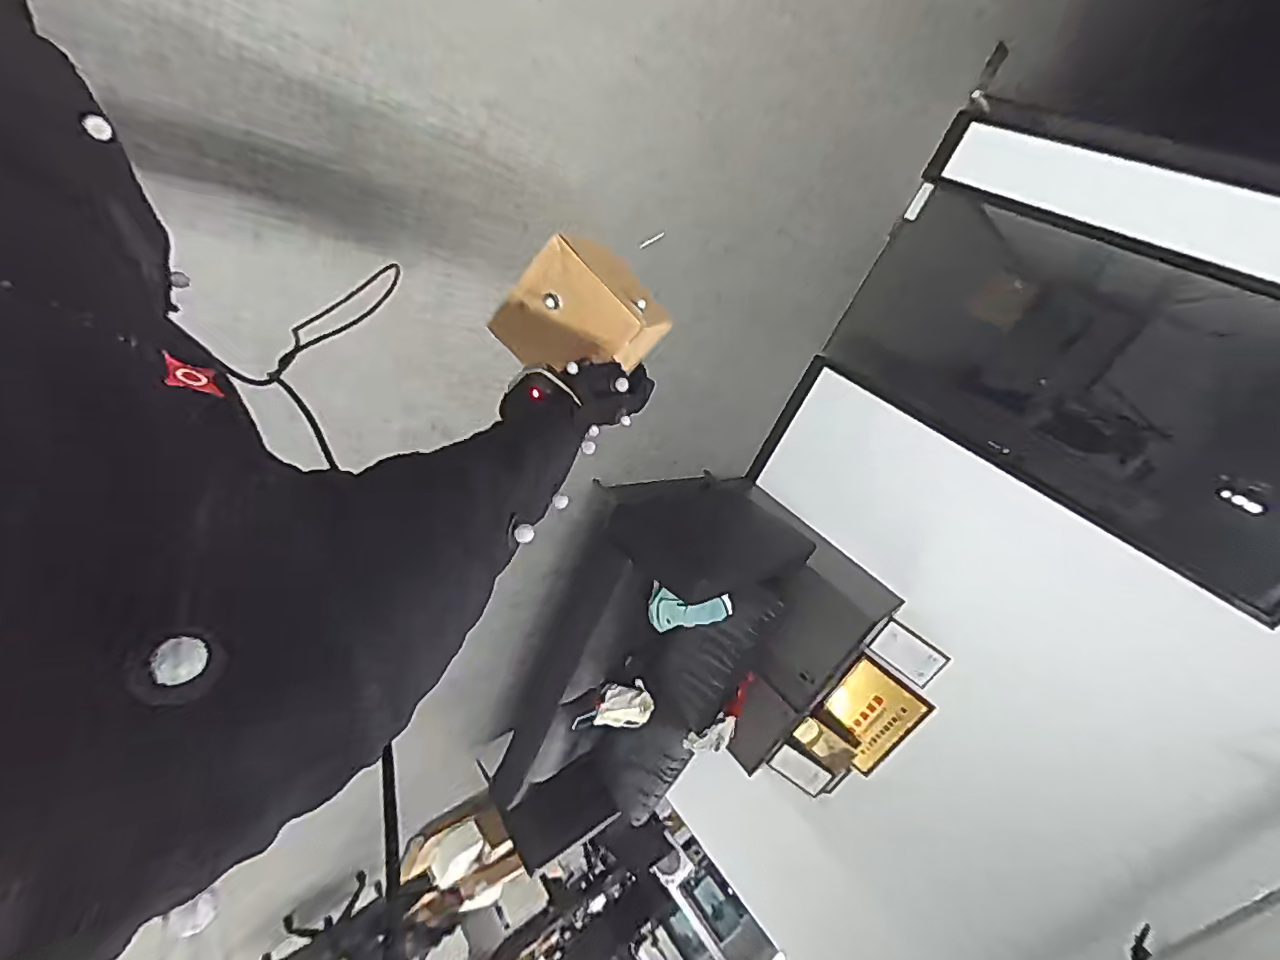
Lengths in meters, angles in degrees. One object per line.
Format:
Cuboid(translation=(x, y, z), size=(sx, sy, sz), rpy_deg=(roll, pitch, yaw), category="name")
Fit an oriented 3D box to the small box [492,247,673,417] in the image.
Cuboid(translation=(-0.082, -0.222, 0.810), size=(0.168, 0.176, 0.179), rpy_deg=(-43, 179, 24), category="small box")
